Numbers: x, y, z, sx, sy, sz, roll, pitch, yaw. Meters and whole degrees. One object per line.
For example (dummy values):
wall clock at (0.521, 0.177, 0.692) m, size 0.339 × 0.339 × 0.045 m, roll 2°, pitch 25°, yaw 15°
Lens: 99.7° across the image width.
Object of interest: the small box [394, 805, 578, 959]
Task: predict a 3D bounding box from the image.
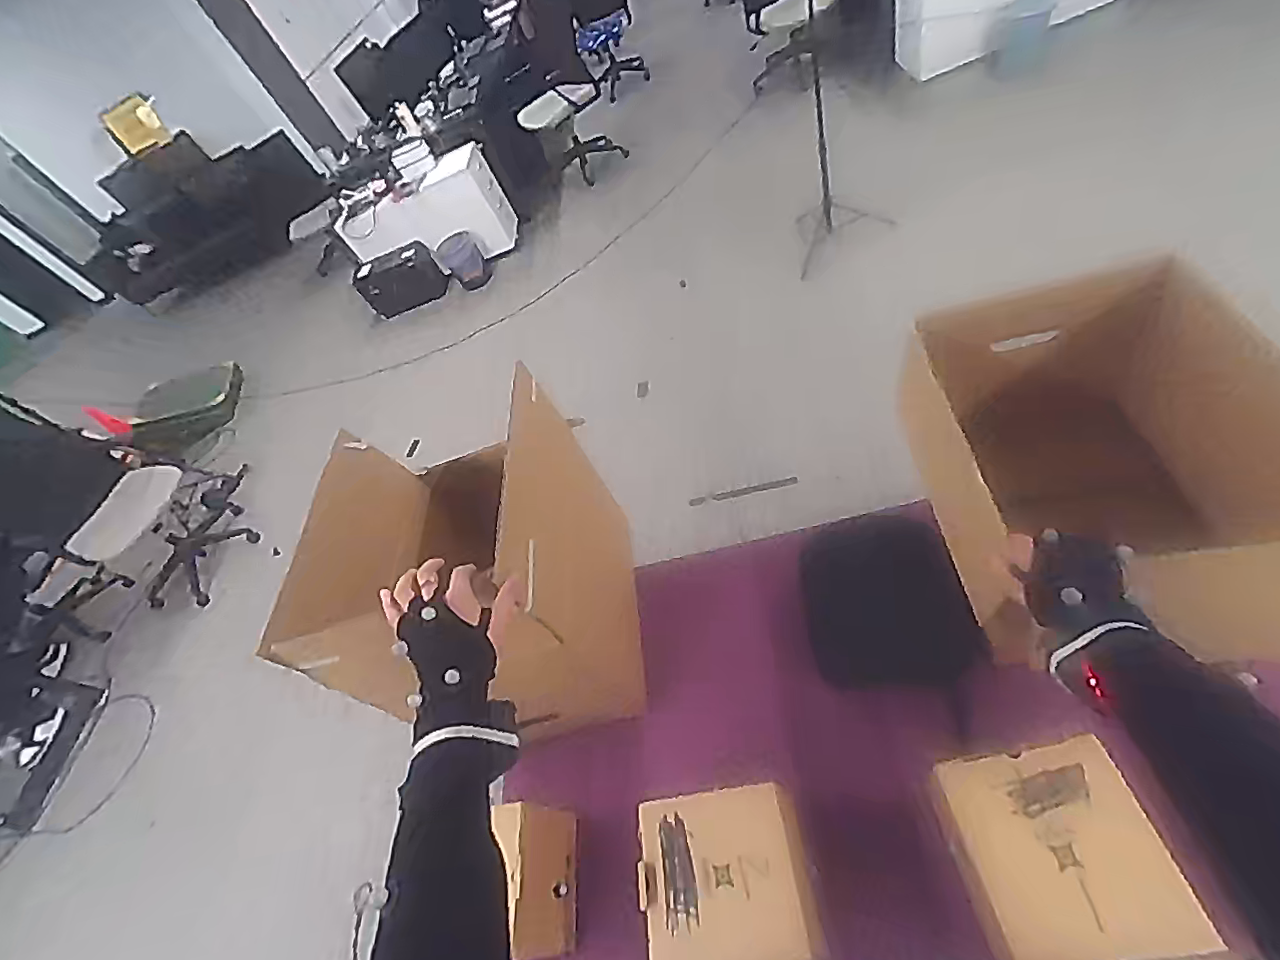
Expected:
small box at (-0.202, 0.570, 0.758) m, size 0.179 × 0.176 × 0.168 m, roll -16°, pitch 50°, yaw 13°

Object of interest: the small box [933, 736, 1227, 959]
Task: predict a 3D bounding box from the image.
small box at (0.436, 0.401, 0.582) m, size 0.168 × 0.176 × 0.179 m, roll -19°, pitch 50°, yaw 12°
